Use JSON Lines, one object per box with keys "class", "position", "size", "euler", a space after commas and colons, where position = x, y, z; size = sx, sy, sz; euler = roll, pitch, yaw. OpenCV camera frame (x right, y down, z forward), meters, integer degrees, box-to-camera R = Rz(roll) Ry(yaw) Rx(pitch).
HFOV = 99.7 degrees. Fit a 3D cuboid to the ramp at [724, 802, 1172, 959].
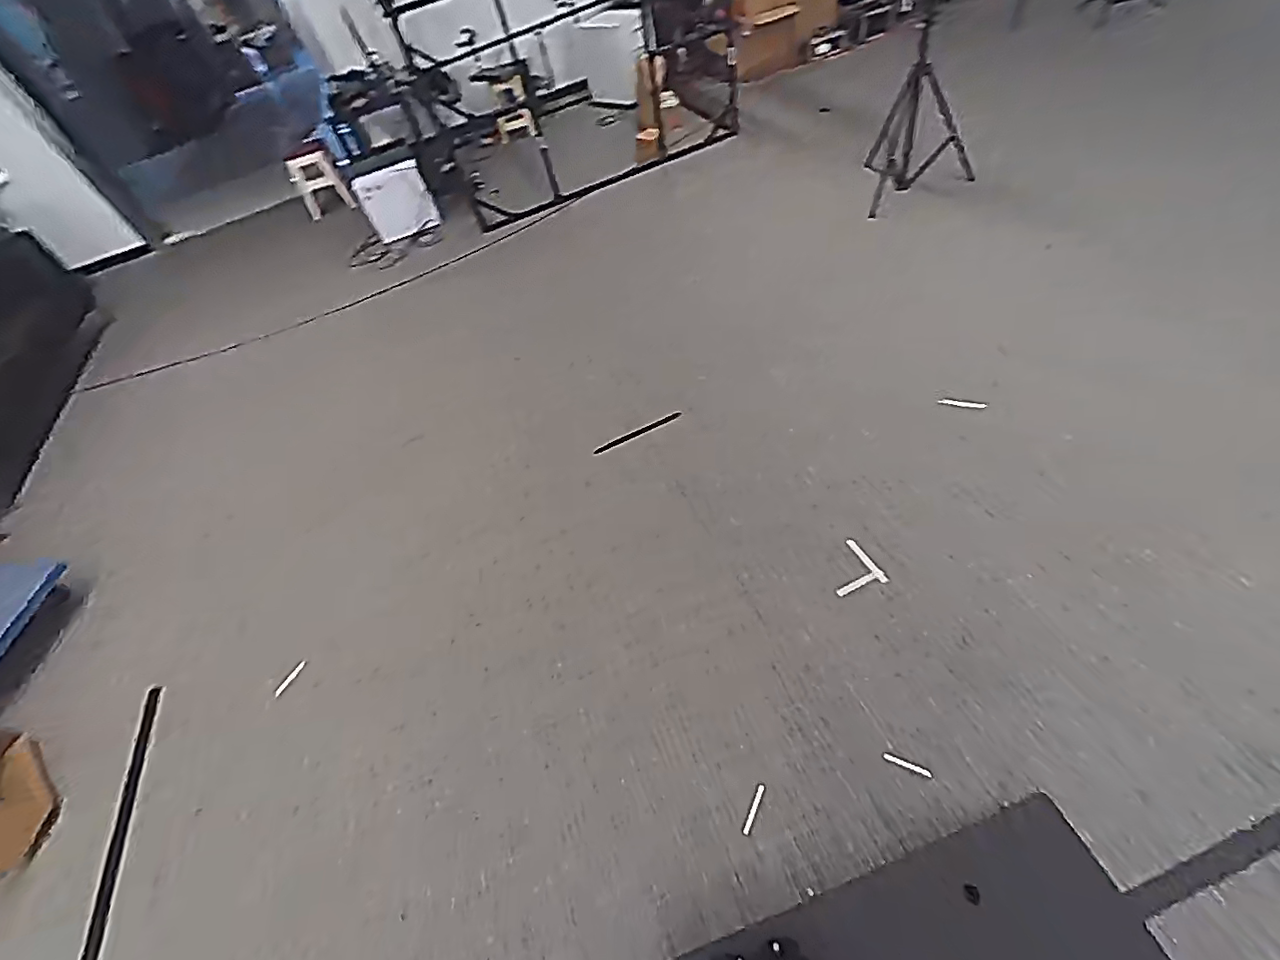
{"class": "ramp", "position": [0.555, 1.037, 0.994], "size": [0.991, 0.206, 0.509], "euler": [-24, 47, -6]}
